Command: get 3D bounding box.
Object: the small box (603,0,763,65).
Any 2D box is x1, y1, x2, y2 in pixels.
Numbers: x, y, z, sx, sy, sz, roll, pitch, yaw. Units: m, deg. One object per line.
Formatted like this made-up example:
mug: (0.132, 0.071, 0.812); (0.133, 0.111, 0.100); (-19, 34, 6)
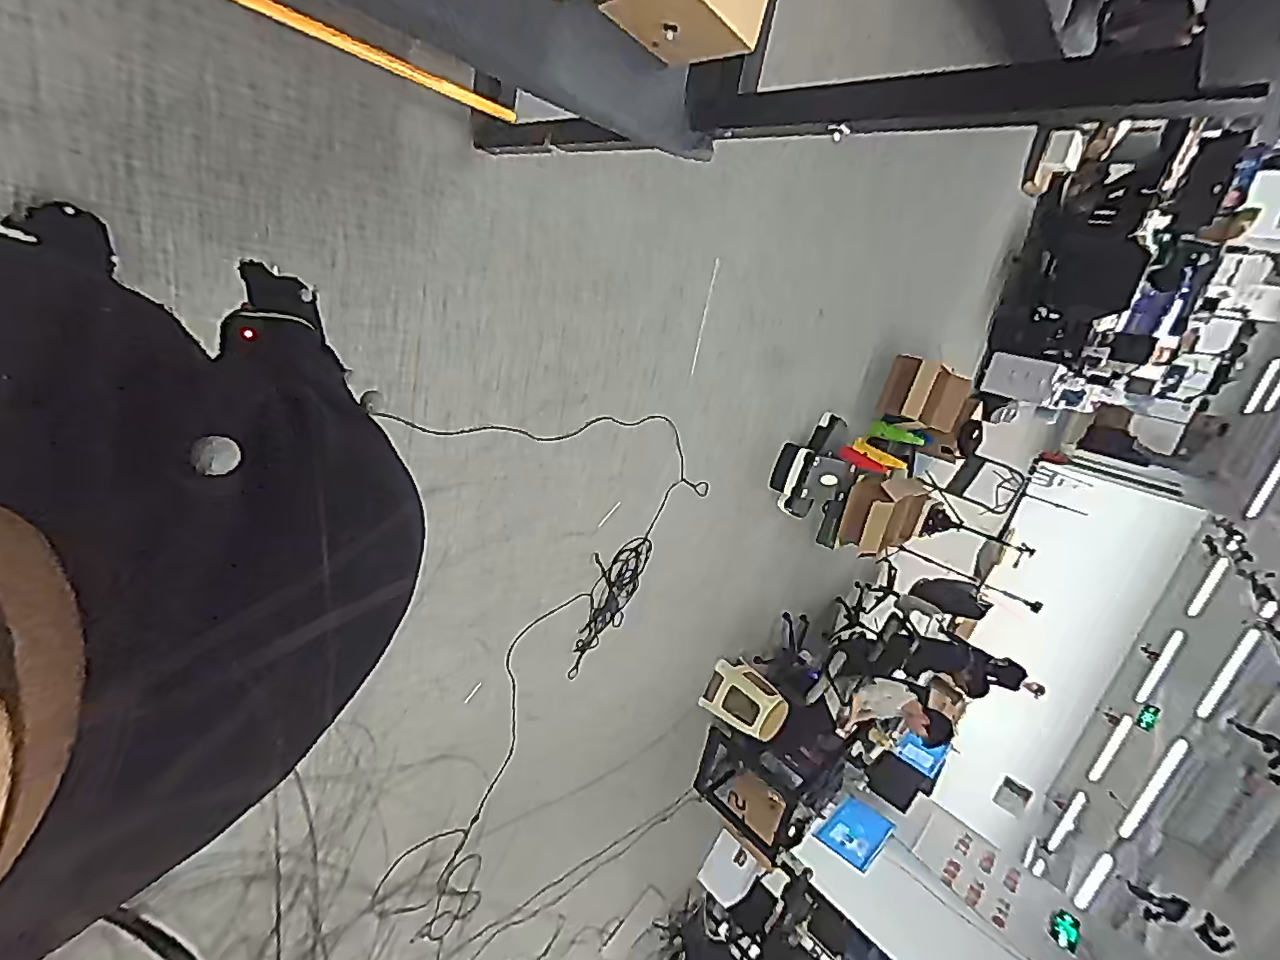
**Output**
small box: (0.063, -0.712, 0.742); (0.168, 0.176, 0.179); (-2, 112, -47)
